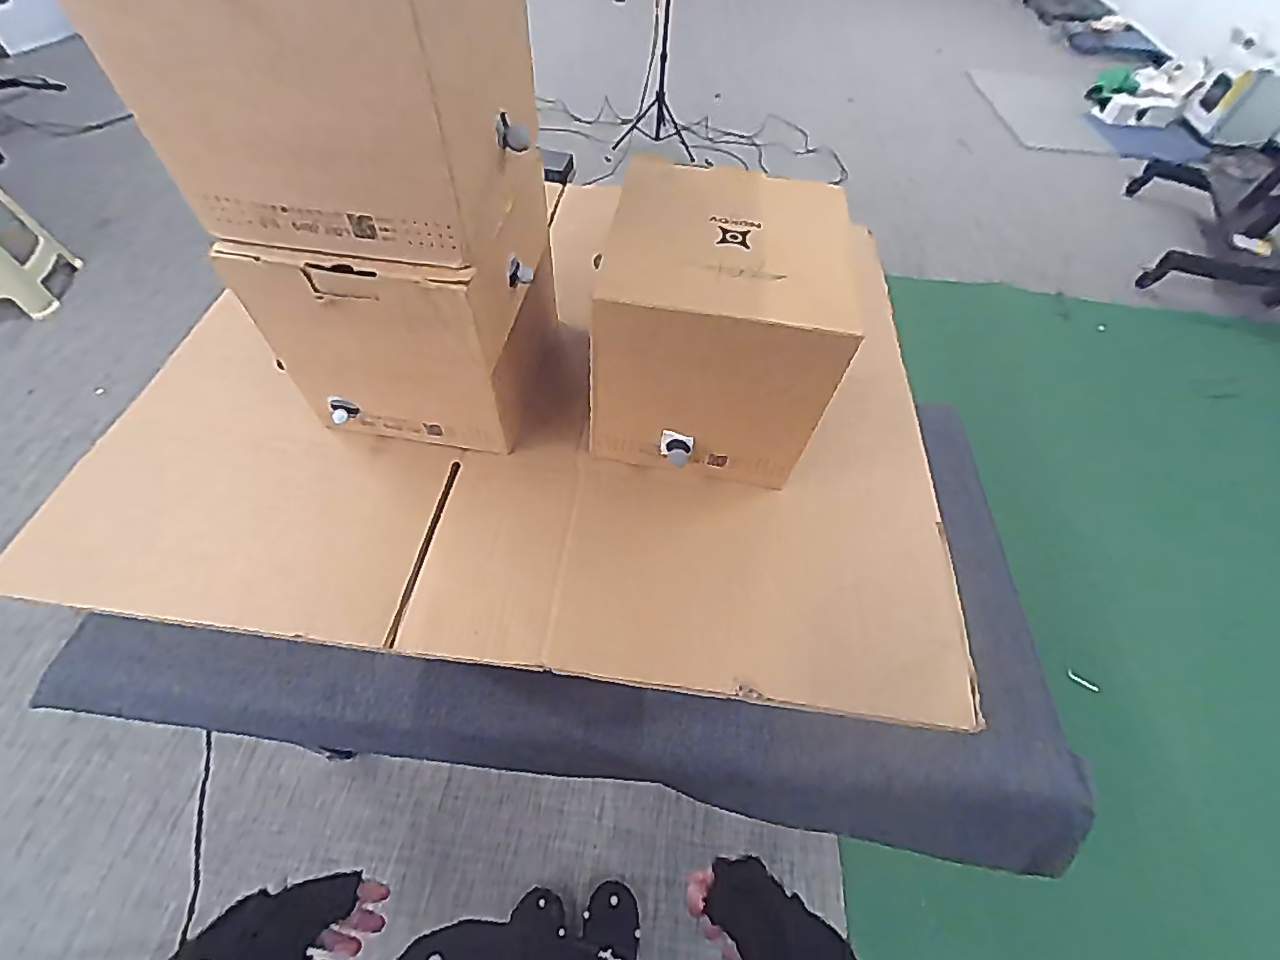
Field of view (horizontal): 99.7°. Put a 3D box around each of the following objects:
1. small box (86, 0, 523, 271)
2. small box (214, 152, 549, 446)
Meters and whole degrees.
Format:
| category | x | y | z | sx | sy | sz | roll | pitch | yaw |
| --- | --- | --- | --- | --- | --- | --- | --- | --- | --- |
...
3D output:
| category | x | y | z | sx | sy | sz | roll | pitch | yaw |
| --- | --- | --- | --- | --- | --- | --- | --- | --- | --- |
| small box | -0.172 | -0.251 | 0.316 | 0.168 | 0.176 | 0.179 | 7 | 55 | 1 |
| small box | -0.176 | -0.149 | 0.443 | 0.168 | 0.176 | 0.179 | 8 | 55 | 2 |
